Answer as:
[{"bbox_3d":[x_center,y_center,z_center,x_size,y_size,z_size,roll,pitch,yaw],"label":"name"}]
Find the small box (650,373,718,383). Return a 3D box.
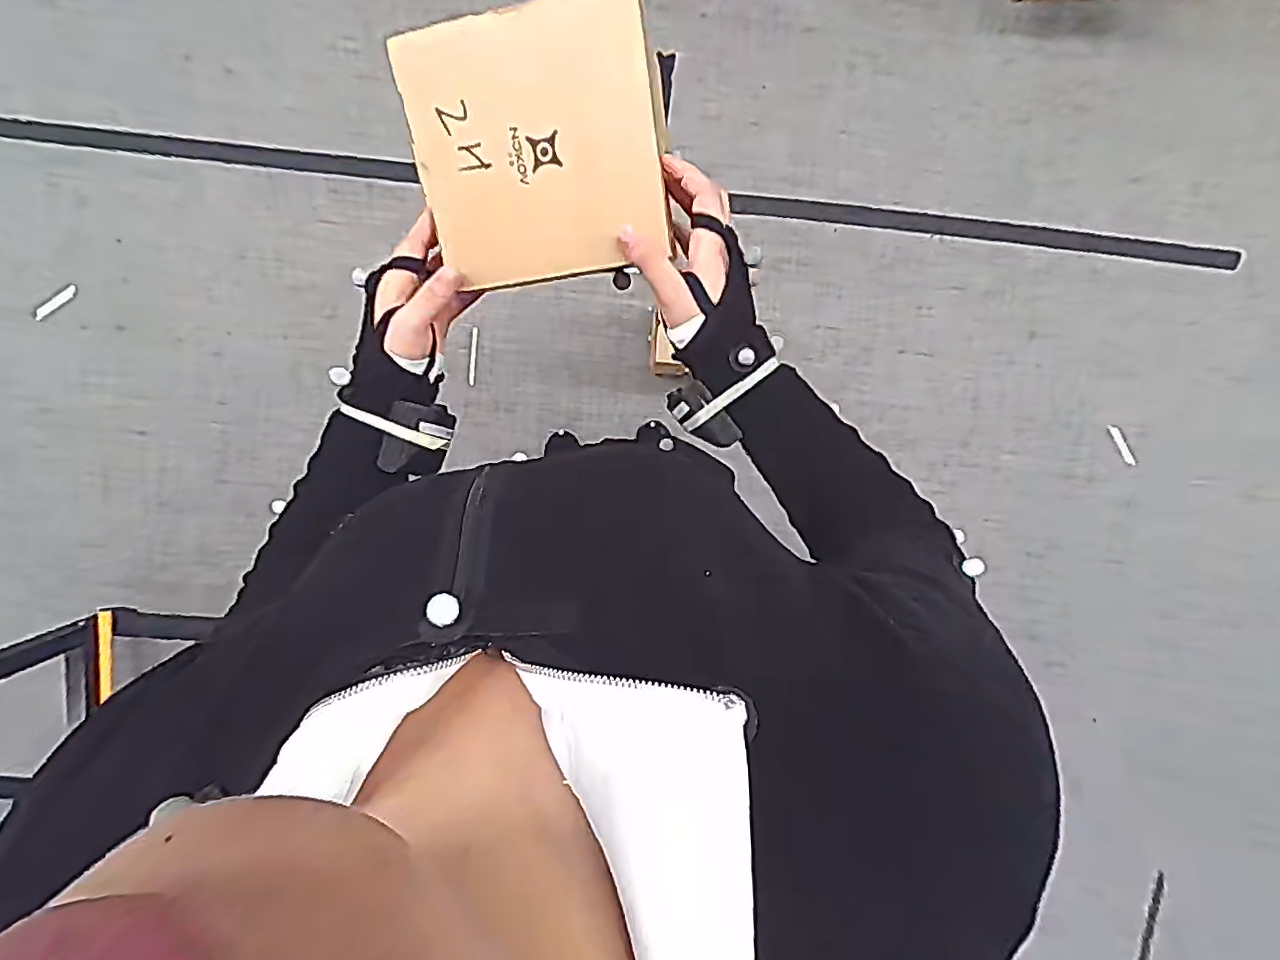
[{"bbox_3d":[0.113,-0.339,1.371,0.168,0.176,0.179,3,97,-2],"label":"small box"}]

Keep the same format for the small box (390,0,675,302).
[{"bbox_3d":[-0.064,-0.248,0.449,0.179,0.176,0.168,-5,110,9],"label":"small box"}]

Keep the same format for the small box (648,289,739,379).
[{"bbox_3d":[0.111,-0.317,1.206,0.179,0.176,0.168,3,97,-3],"label":"small box"}]
